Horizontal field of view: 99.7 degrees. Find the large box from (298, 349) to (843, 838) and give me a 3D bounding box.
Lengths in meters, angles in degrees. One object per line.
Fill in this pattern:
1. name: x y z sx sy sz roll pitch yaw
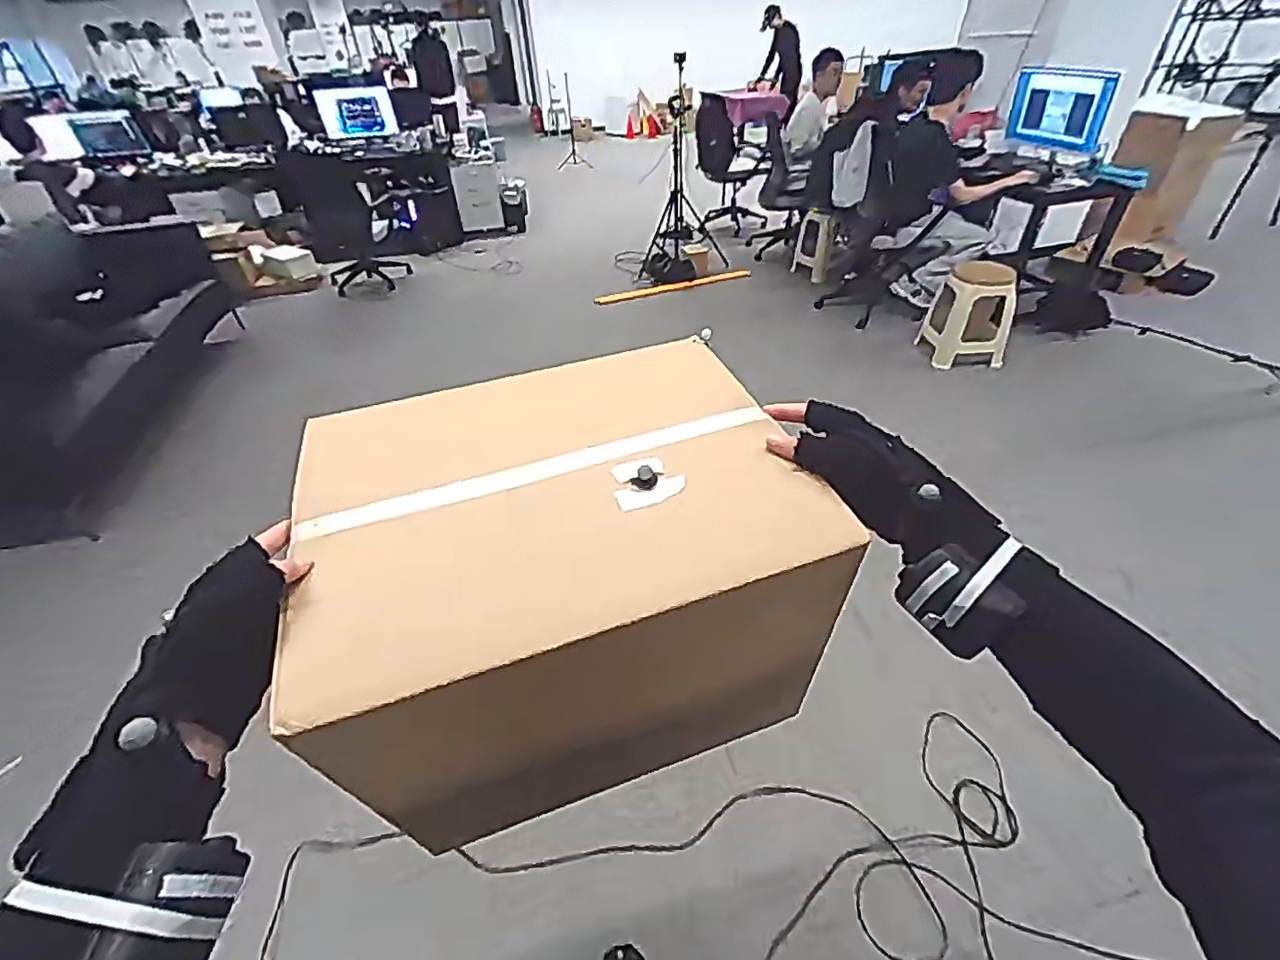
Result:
1. large box: -0.073 0.102 0.577 0.408 0.320 0.320 -14 46 -13
